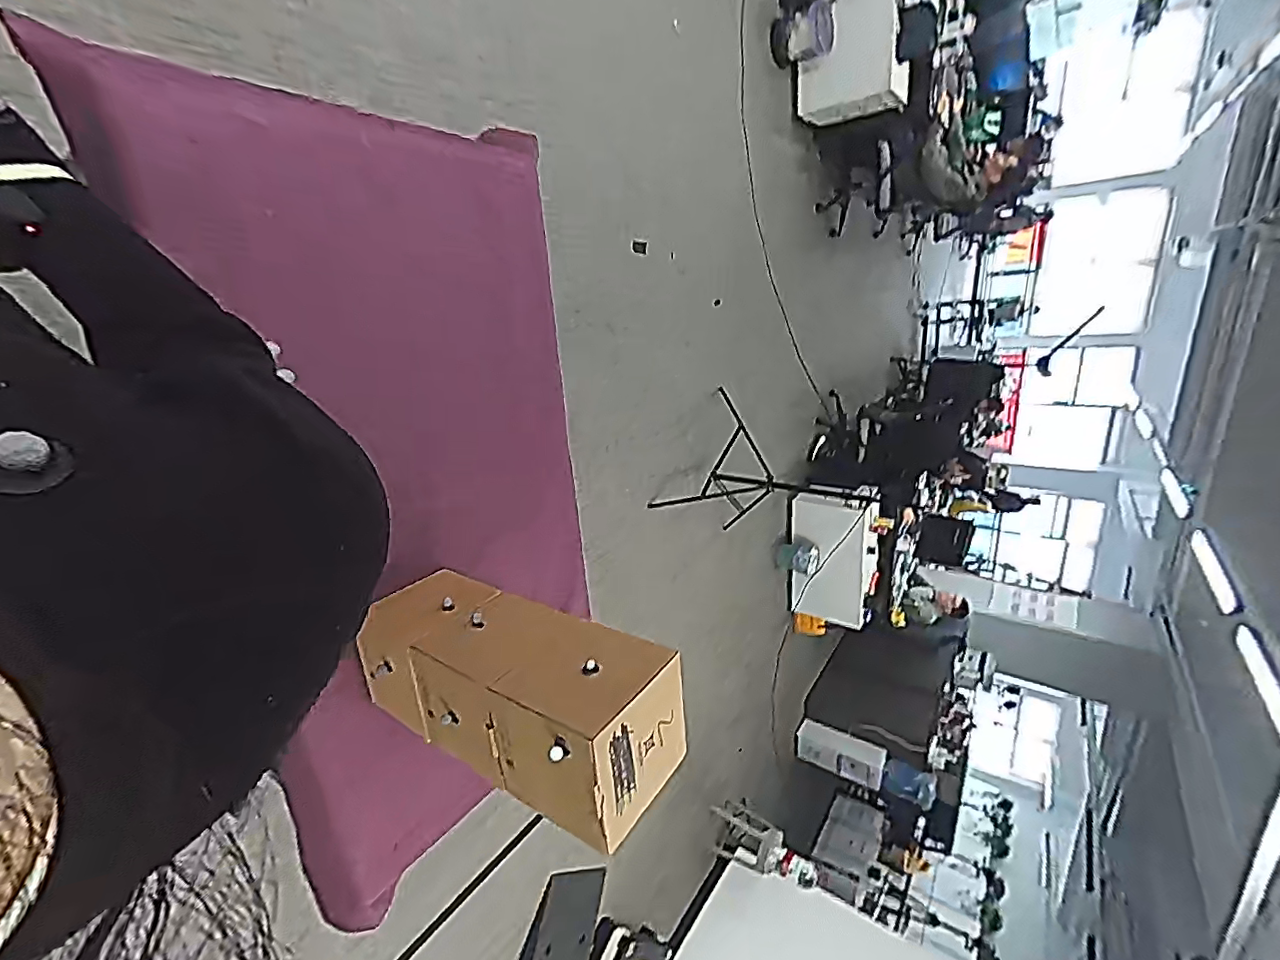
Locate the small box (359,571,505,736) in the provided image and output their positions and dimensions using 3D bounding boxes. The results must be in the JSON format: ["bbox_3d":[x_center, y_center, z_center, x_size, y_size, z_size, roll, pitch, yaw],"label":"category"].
[{"bbox_3d":[-0.329,0.268,0.878,0.179,0.176,0.168,-26,118,-50],"label":"small box"}]

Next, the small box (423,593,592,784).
[{"bbox_3d":[-0.194,0.288,0.788,0.179,0.176,0.168,-25,117,-50],"label":"small box"}]
